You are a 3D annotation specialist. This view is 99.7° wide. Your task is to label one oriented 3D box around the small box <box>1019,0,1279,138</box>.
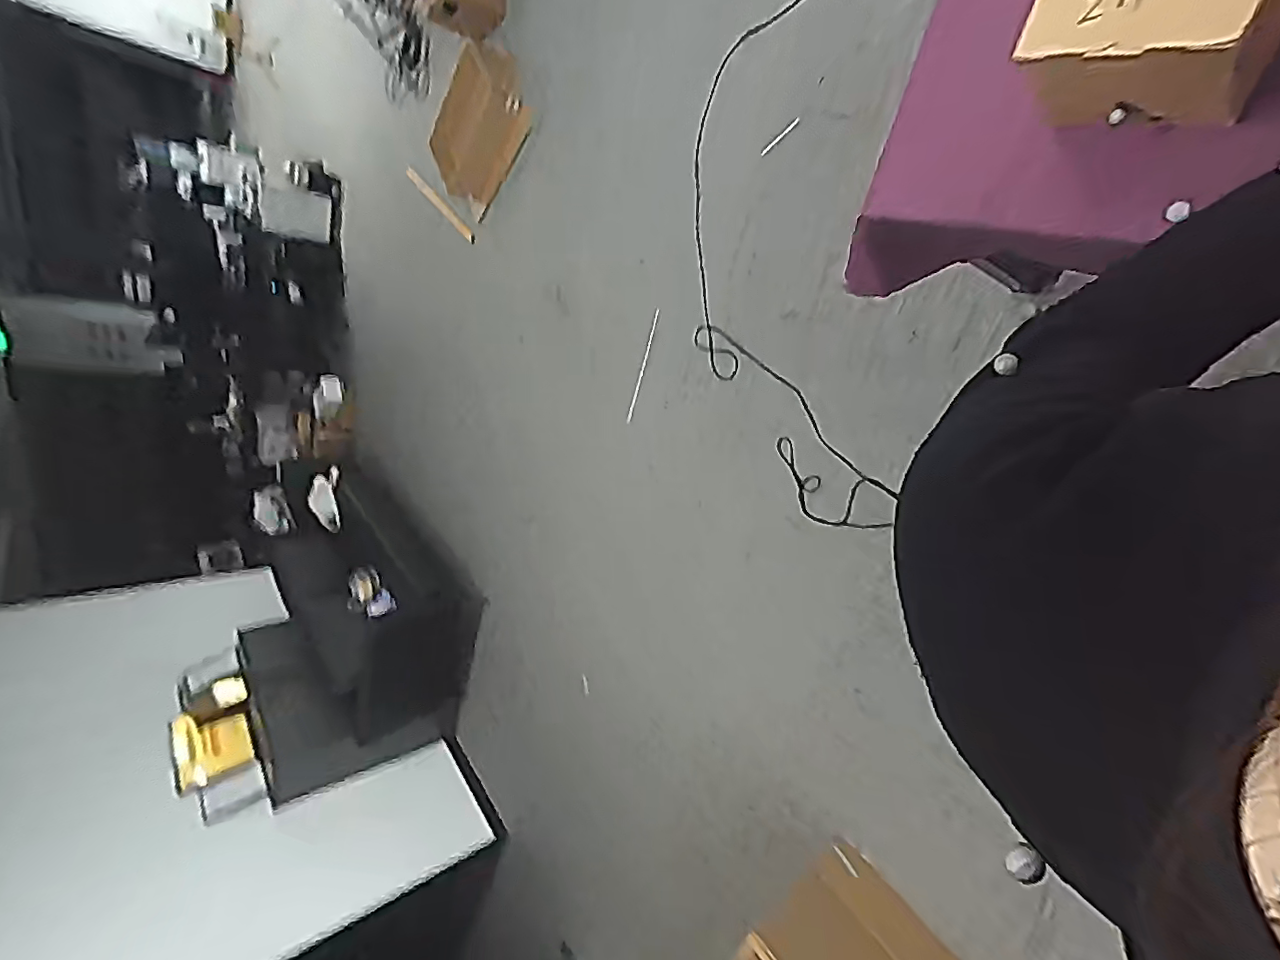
[{"bbox_3d":[0.502,-0.452,0.505,0.168,0.176,0.179,35,117,40],"label":"small box"}]
